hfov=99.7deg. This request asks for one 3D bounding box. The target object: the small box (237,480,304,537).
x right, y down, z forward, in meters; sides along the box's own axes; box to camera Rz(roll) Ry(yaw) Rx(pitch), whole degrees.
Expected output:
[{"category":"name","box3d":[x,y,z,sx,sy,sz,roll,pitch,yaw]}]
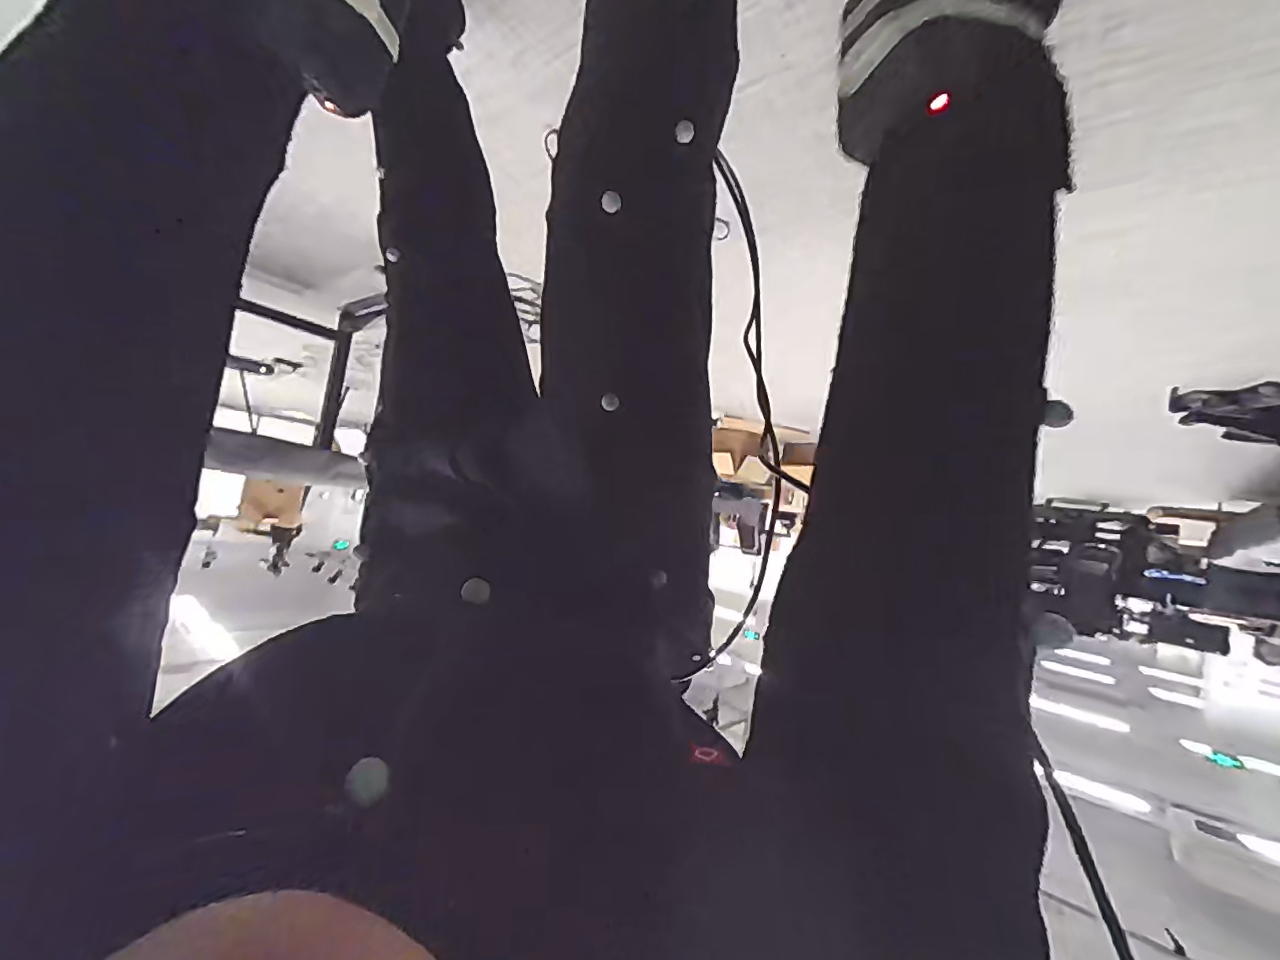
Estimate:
[{"category":"small box","box3d":[-1.276,0.094,1.870,0.168,0.176,0.179,12,175,-35]}]
